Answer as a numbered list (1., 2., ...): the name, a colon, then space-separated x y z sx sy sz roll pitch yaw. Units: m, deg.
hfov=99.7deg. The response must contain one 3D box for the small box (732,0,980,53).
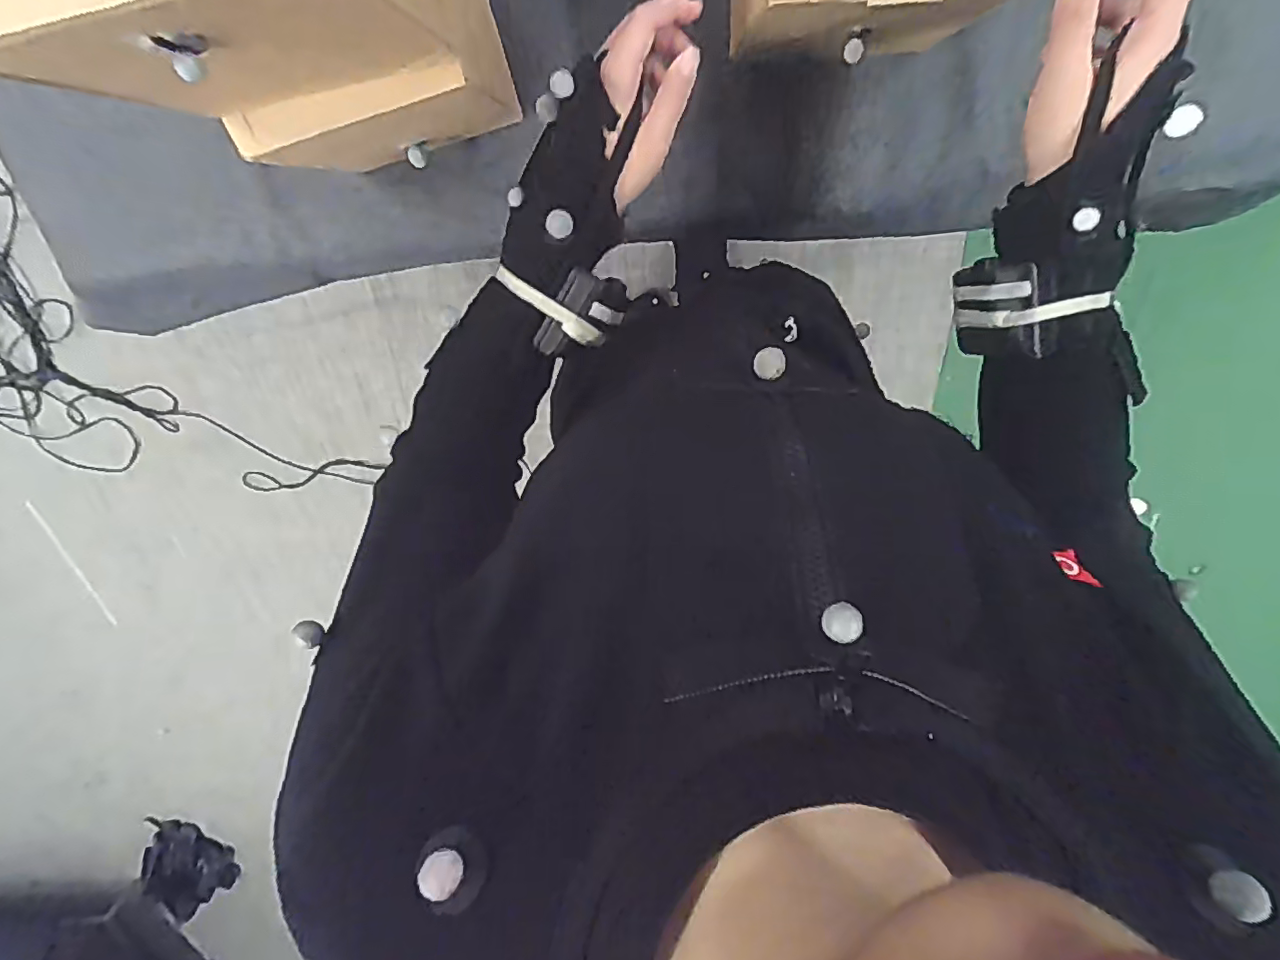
1. small box: 0.150 -0.399 0.347 0.168 0.176 0.179 -3 118 4

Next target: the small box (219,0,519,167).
1. small box: -0.204 -0.343 0.384 0.168 0.176 0.179 -12 117 8

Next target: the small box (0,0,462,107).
1. small box: -0.205 -0.282 0.233 0.179 0.176 0.168 -9 118 5
